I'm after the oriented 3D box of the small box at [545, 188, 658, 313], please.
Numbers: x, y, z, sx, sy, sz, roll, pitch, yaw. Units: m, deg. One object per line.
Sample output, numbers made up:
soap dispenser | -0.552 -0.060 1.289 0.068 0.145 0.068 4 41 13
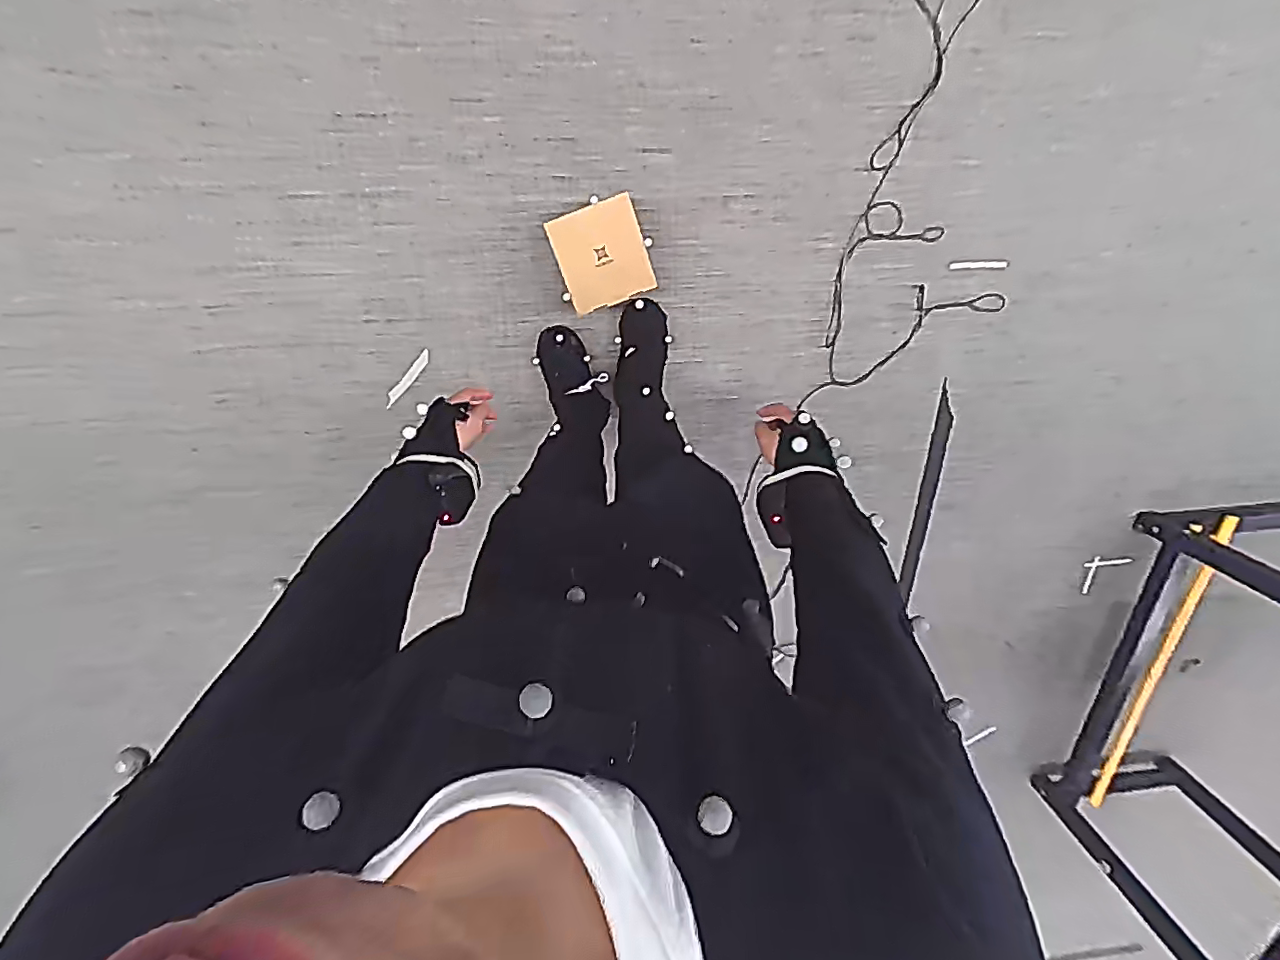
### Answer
small box | -0.078 -0.452 1.071 0.168 0.176 0.179 -20 116 3
